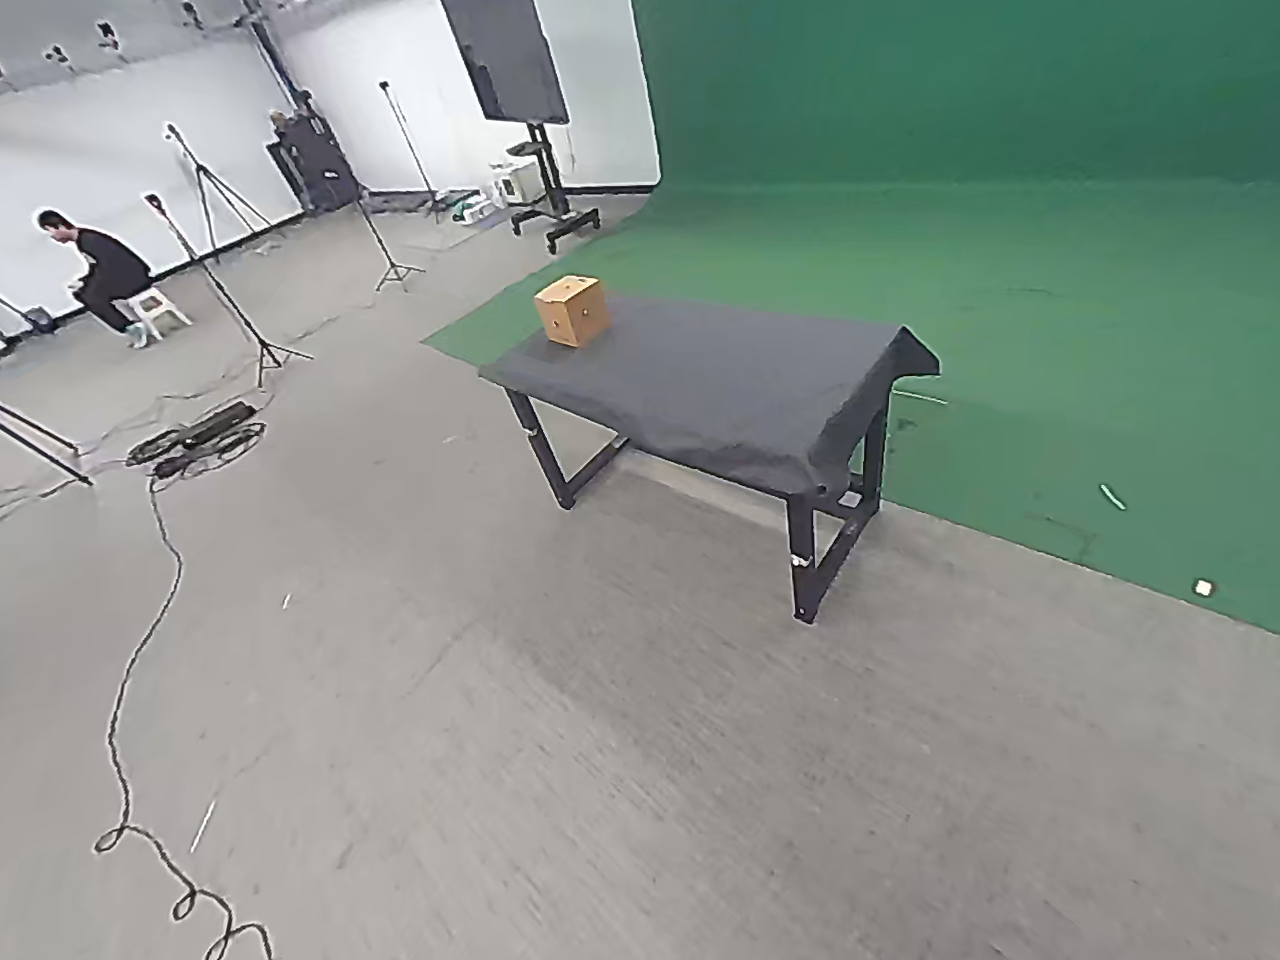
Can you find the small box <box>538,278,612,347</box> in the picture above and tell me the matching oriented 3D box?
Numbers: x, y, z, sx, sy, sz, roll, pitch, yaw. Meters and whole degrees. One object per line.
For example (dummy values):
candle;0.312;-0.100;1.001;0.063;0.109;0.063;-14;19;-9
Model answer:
small box;-0.222;-0.591;1.915;0.168;0.176;0.179;24;56;36
